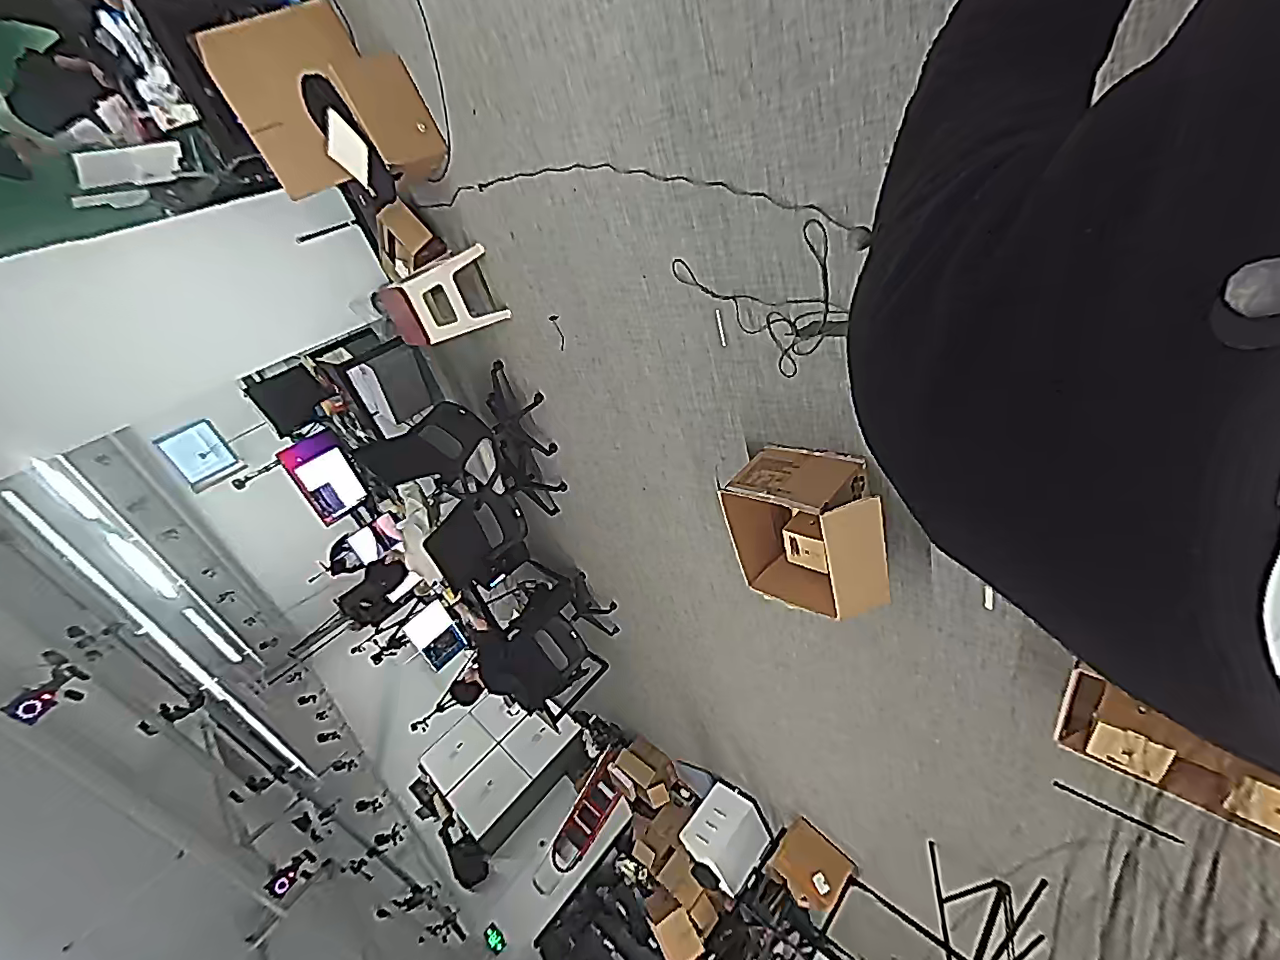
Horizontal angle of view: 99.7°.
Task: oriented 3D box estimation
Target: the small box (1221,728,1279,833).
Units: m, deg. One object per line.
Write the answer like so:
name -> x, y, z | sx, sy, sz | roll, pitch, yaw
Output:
small box -> 1.636, 0.774, 1.372 | 0.179, 0.176, 0.168 | 19, 136, 44

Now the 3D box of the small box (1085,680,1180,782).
small box -> 1.438, 0.722, 1.577 | 0.168, 0.176, 0.179 | 19, 135, 41
